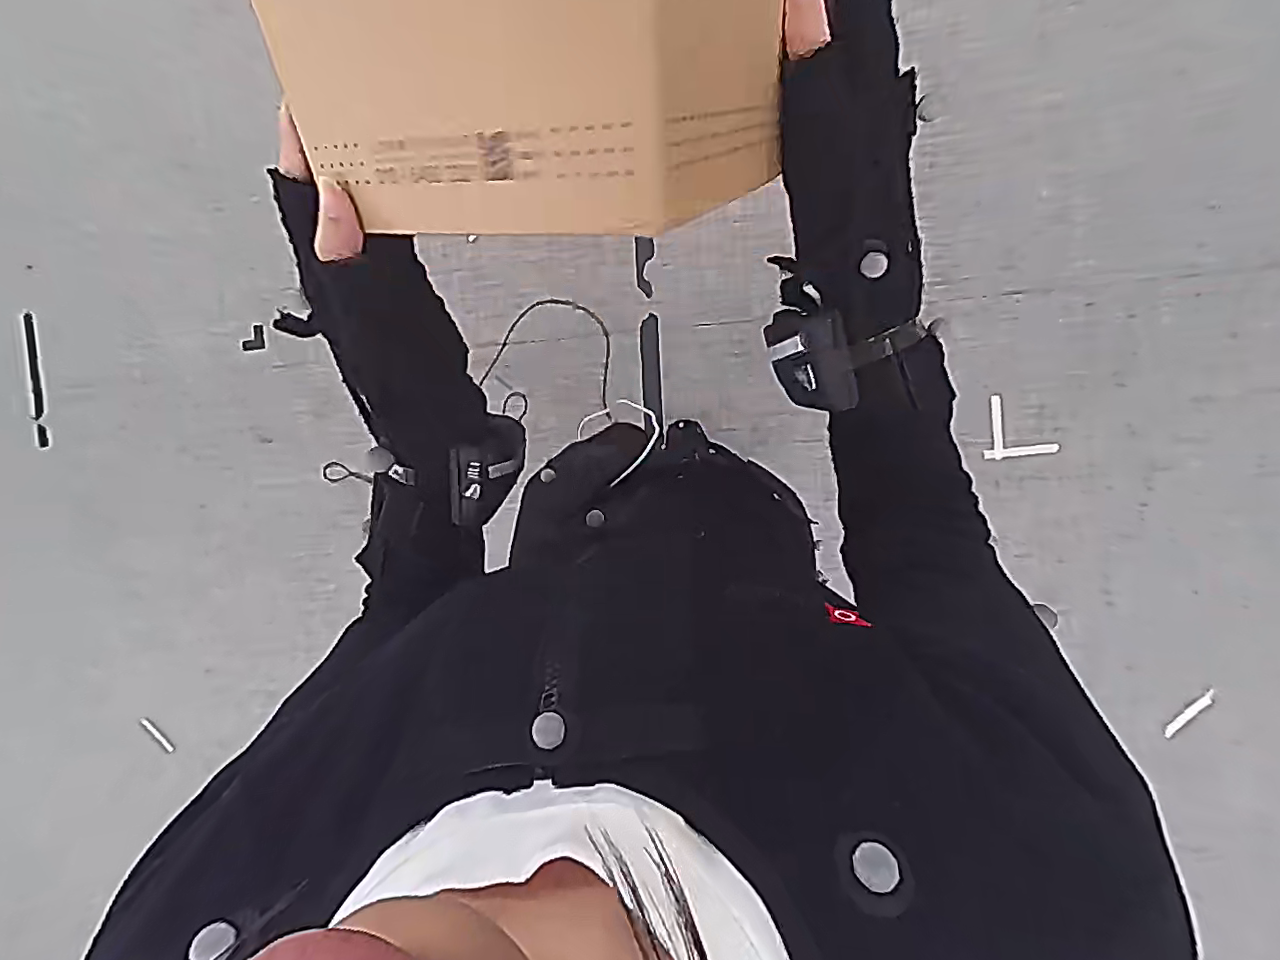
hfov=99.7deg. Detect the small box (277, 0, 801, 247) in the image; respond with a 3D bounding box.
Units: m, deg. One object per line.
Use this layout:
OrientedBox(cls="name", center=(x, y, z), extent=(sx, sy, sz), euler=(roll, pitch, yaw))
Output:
OrientedBox(cls="small box", center=(-0.031, -0.206, 0.231), extent=(0.168, 0.179, 0.176), euler=(15, 129, 26))
